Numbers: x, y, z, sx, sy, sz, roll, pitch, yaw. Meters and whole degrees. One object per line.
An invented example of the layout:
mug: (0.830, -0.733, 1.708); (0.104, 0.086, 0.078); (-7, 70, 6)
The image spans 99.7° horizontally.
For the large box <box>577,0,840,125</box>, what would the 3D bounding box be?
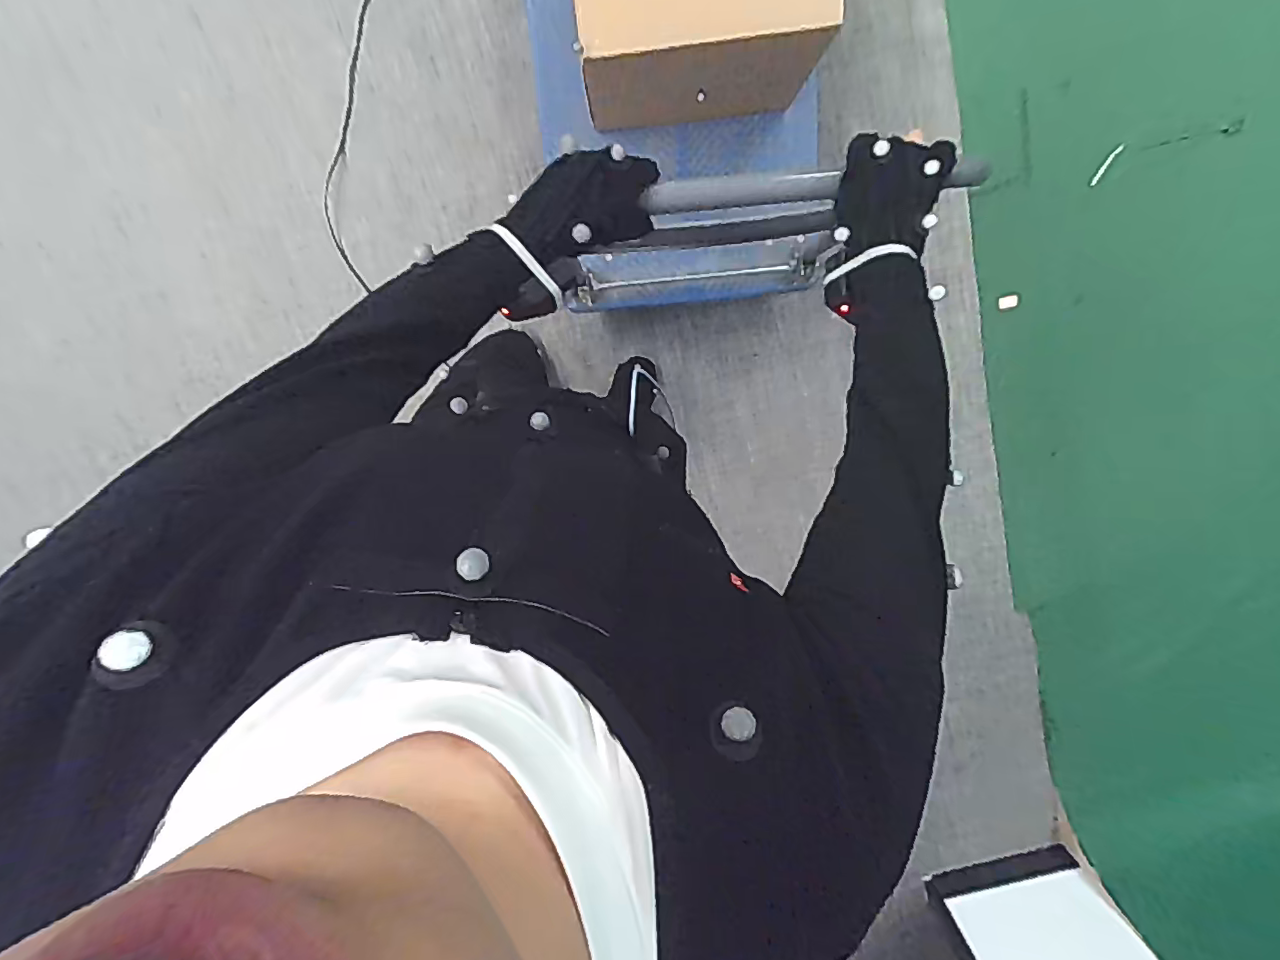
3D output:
large box: (0.094, -0.864, 0.940); (0.408, 0.320, 0.320); (-6, 104, 2)
